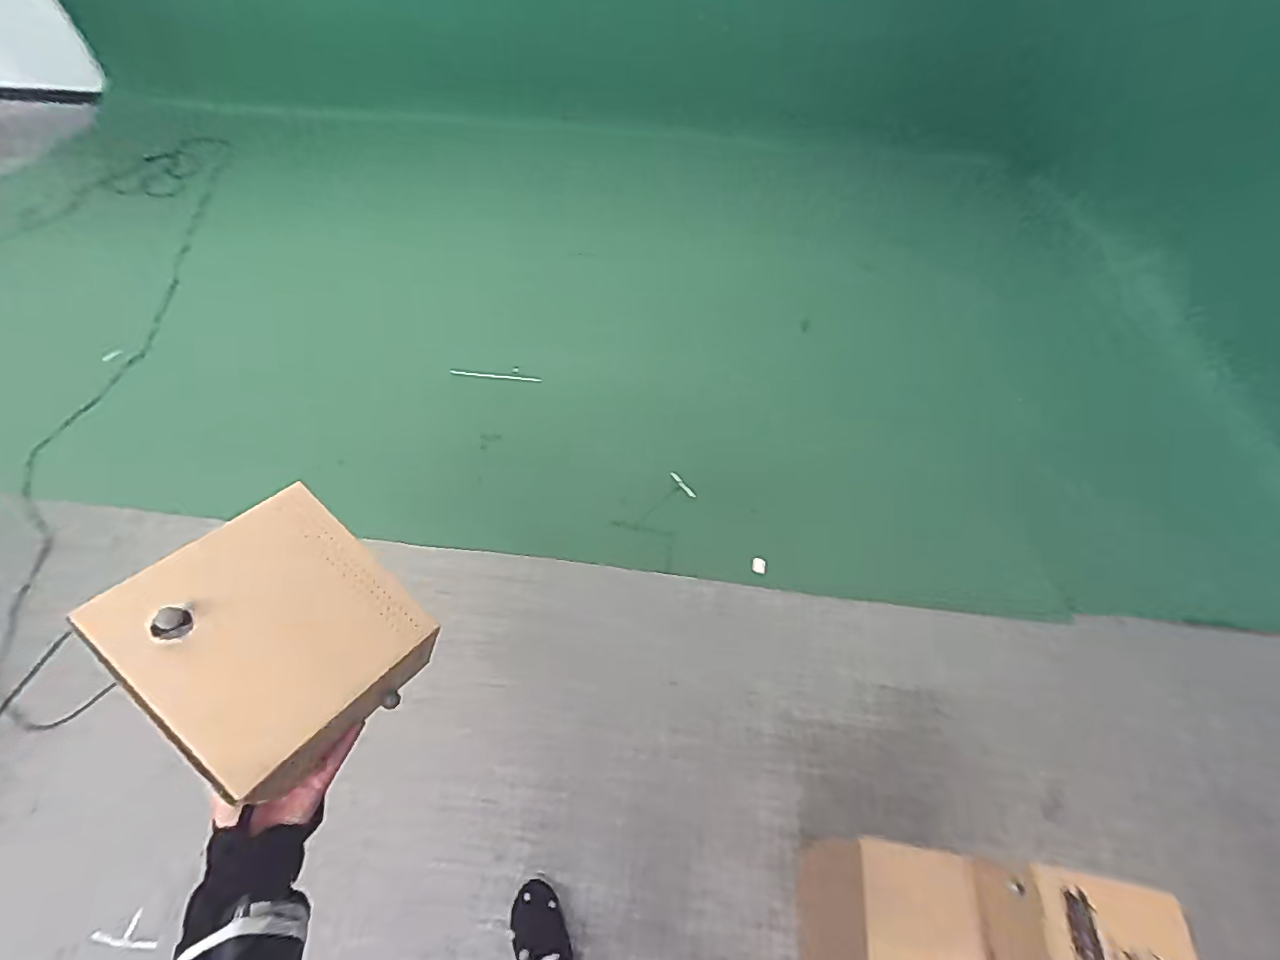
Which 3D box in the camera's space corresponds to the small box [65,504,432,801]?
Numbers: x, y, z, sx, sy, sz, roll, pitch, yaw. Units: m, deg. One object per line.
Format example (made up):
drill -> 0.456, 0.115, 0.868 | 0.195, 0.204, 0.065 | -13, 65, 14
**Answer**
small box -> -0.313, 0.143, 0.472 | 0.179, 0.168, 0.176 | 44, 53, 3
